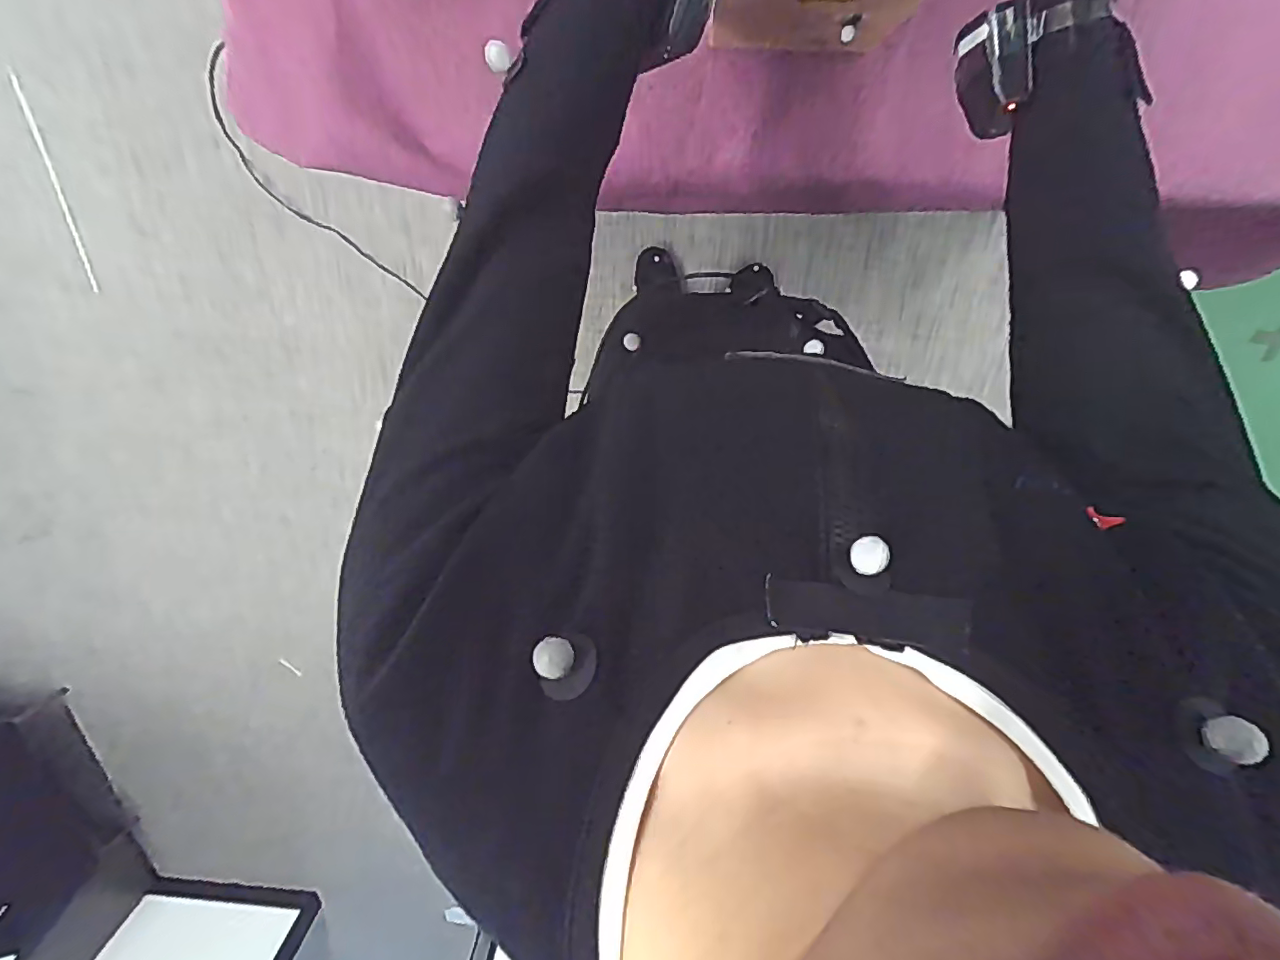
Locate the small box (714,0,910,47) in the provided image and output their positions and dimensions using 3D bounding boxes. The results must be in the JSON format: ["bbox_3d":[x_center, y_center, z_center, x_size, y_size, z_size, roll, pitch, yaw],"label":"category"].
[{"bbox_3d":[0.151,-0.477,0.432,0.168,0.176,0.179,4,114,2],"label":"small box"}]
